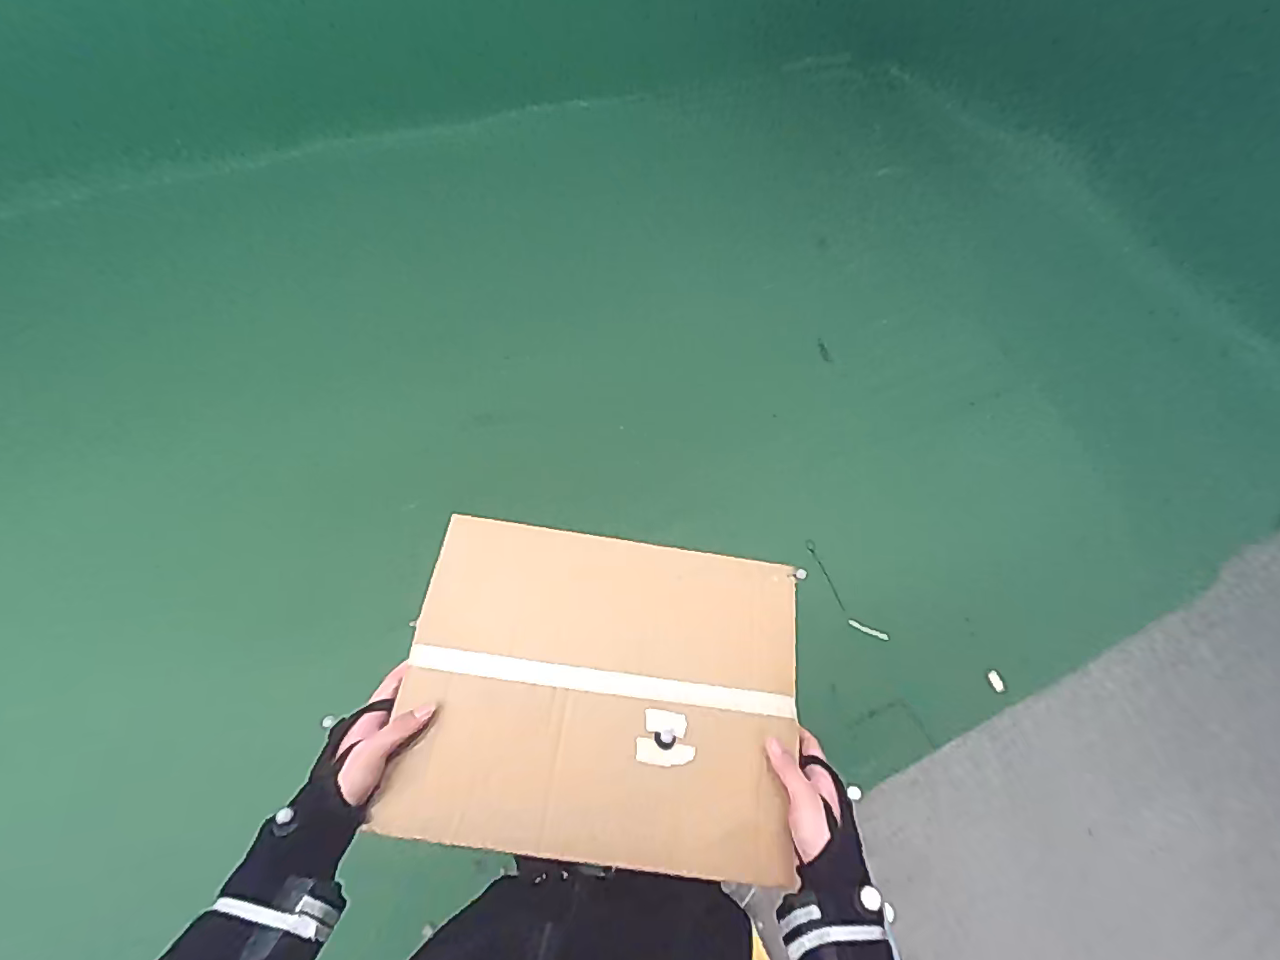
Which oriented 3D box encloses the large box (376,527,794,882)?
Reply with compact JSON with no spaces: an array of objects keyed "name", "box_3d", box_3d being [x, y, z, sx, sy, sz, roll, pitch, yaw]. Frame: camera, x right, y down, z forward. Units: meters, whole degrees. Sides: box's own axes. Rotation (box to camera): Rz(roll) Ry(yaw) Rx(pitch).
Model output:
[{"name":"large box","box_3d":[-0.050,0.284,0.704,0.408,0.320,0.320,10,64,-3]}]
